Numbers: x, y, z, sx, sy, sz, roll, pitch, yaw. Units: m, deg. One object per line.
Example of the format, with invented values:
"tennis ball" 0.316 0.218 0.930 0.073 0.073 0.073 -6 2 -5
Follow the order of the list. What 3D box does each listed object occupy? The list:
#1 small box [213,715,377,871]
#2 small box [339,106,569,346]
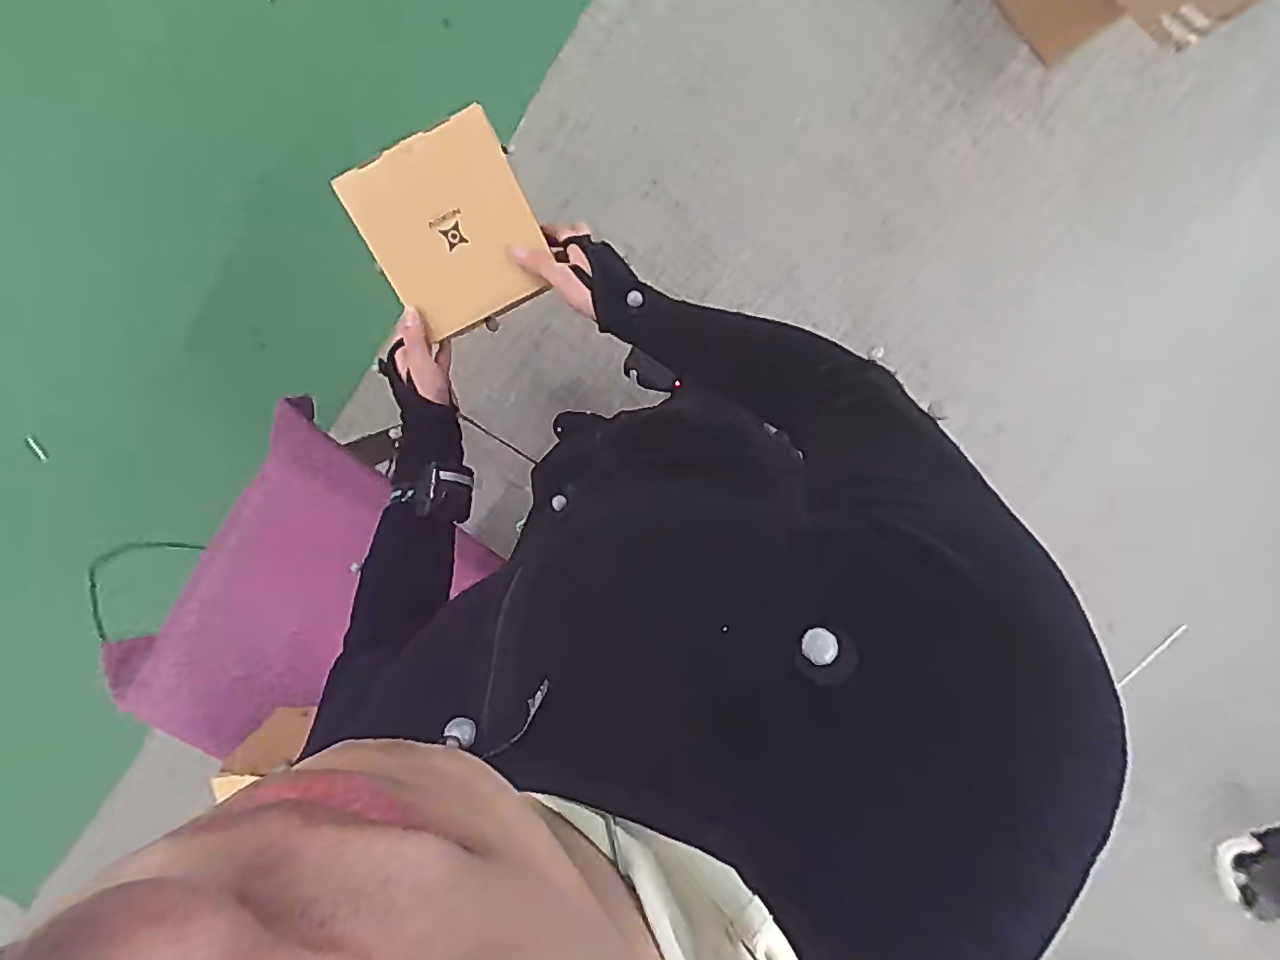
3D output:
"small box" -0.581 0.529 0.935 0.168 0.176 0.179 -1 104 0
"small box" -0.189 -0.274 0.616 0.168 0.176 0.179 -25 109 3
